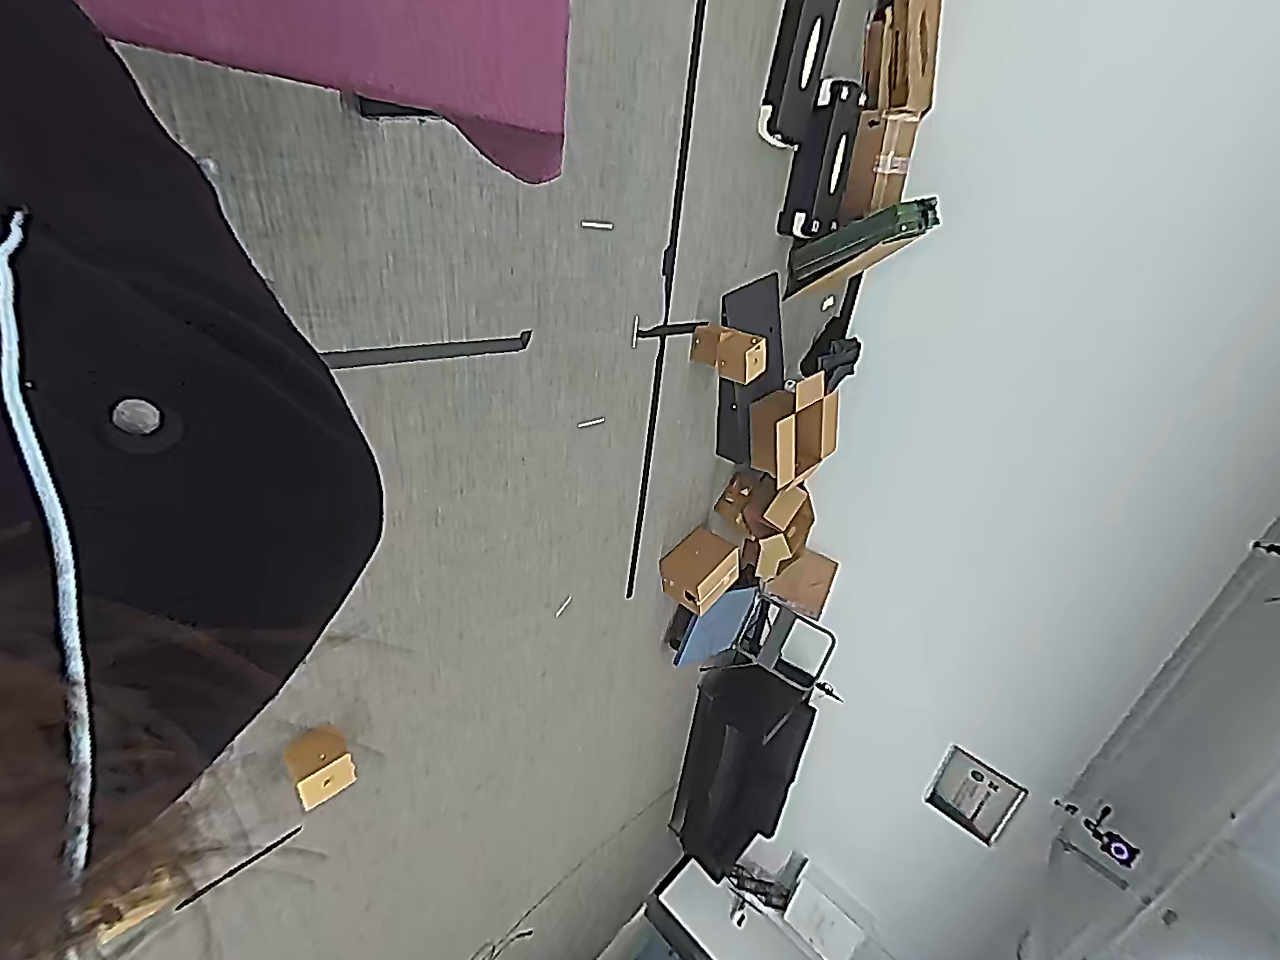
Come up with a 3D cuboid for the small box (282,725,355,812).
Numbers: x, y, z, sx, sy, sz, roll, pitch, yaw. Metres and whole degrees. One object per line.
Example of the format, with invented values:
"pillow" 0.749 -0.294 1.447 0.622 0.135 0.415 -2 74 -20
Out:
"small box" -1.167 1.037 1.954 0.179 0.176 0.168 -24 130 -43
